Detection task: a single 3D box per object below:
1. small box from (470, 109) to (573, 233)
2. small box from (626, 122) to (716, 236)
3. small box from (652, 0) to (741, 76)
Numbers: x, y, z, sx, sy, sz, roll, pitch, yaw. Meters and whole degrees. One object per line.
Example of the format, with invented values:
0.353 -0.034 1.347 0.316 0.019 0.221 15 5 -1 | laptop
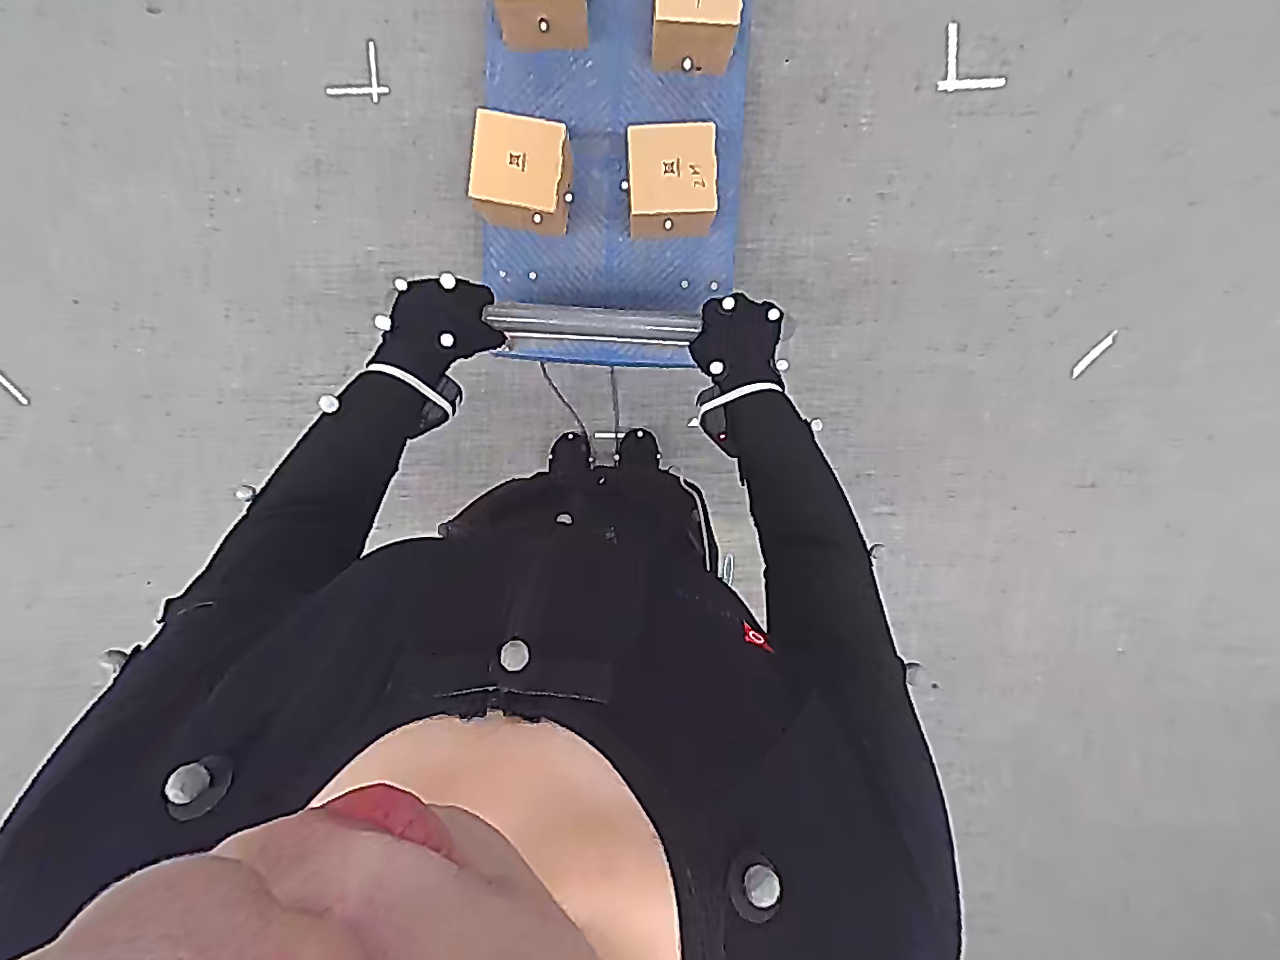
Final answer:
-0.244 -0.641 1.144 0.179 0.176 0.168 8 97 -4 | small box
0.063 -0.630 1.152 0.179 0.176 0.168 -3 98 -1 | small box
0.112 -0.976 1.105 0.168 0.176 0.179 3 99 -2 | small box
